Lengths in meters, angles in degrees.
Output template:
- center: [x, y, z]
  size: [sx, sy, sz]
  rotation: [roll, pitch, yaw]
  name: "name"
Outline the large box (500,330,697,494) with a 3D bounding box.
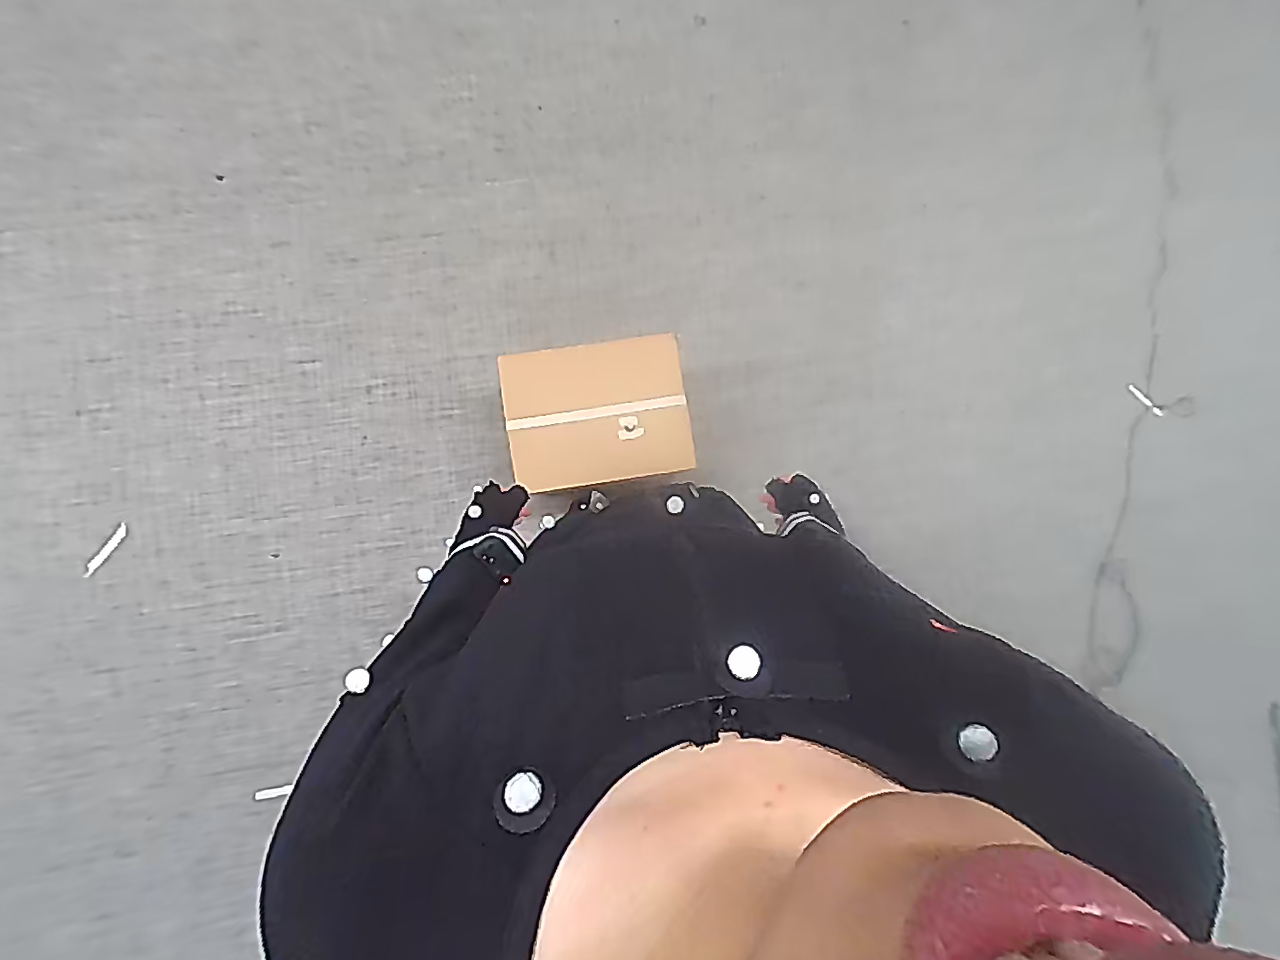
- center: [-0.102, -0.151, 1.353]
  size: [0.408, 0.320, 0.320]
  rotation: [-9, 89, -4]
  name: "large box"
